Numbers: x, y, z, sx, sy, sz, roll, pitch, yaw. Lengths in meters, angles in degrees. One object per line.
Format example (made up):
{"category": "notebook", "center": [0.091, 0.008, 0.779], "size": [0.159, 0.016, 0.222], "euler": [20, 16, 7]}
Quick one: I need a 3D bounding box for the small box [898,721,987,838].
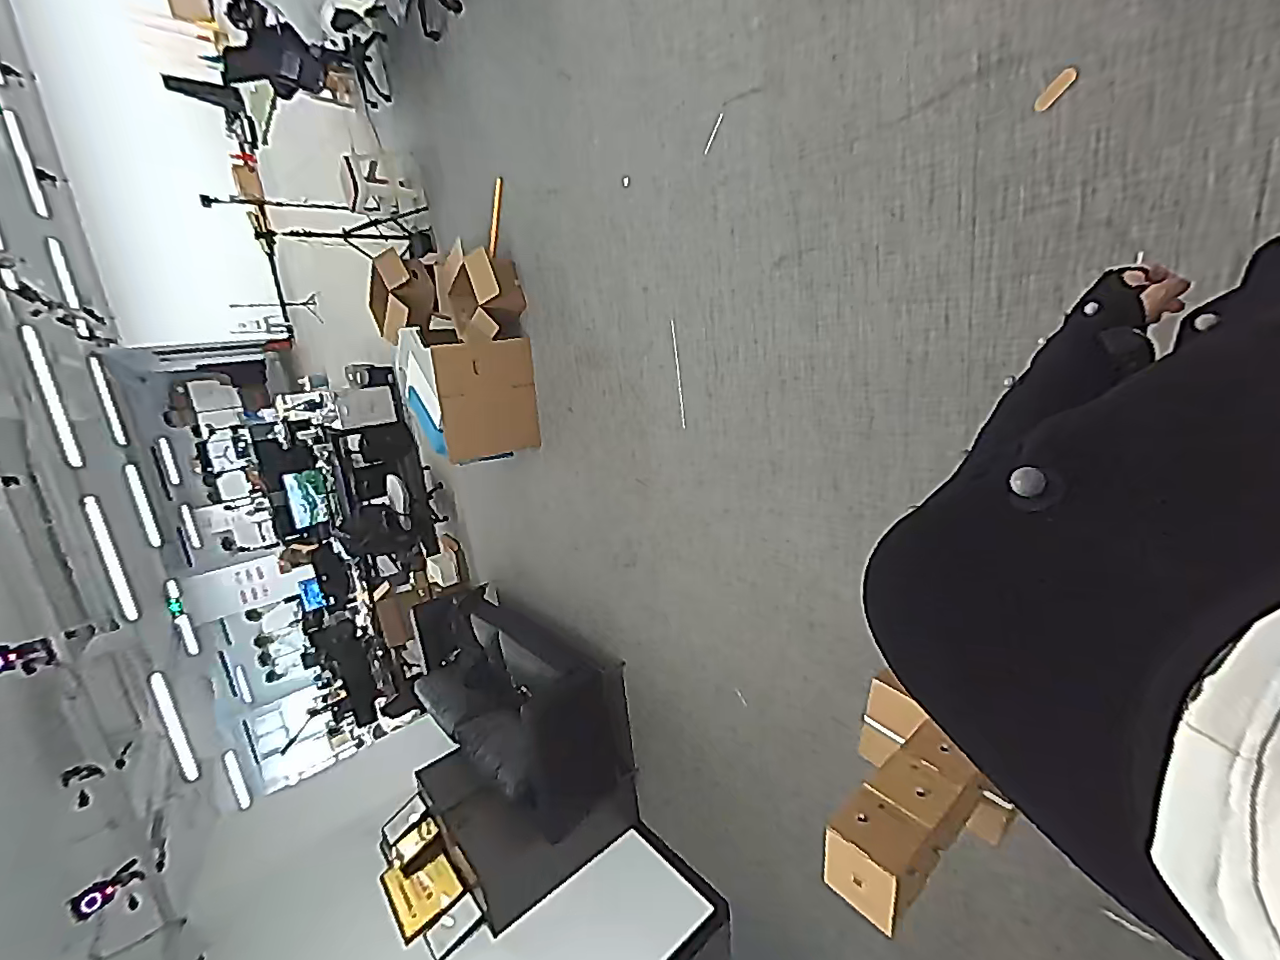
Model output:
{"category": "small box", "center": [0.794, 0.783, 1.434], "size": [0.168, 0.176, 0.179], "euler": [19, 117, 48]}

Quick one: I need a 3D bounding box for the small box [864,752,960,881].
{"category": "small box", "center": [0.667, 0.819, 1.338], "size": [0.168, 0.176, 0.179], "euler": [17, 117, 47]}

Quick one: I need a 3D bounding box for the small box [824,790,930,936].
{"category": "small box", "center": [0.544, 0.863, 1.241], "size": [0.168, 0.176, 0.179], "euler": [17, 117, 49]}
